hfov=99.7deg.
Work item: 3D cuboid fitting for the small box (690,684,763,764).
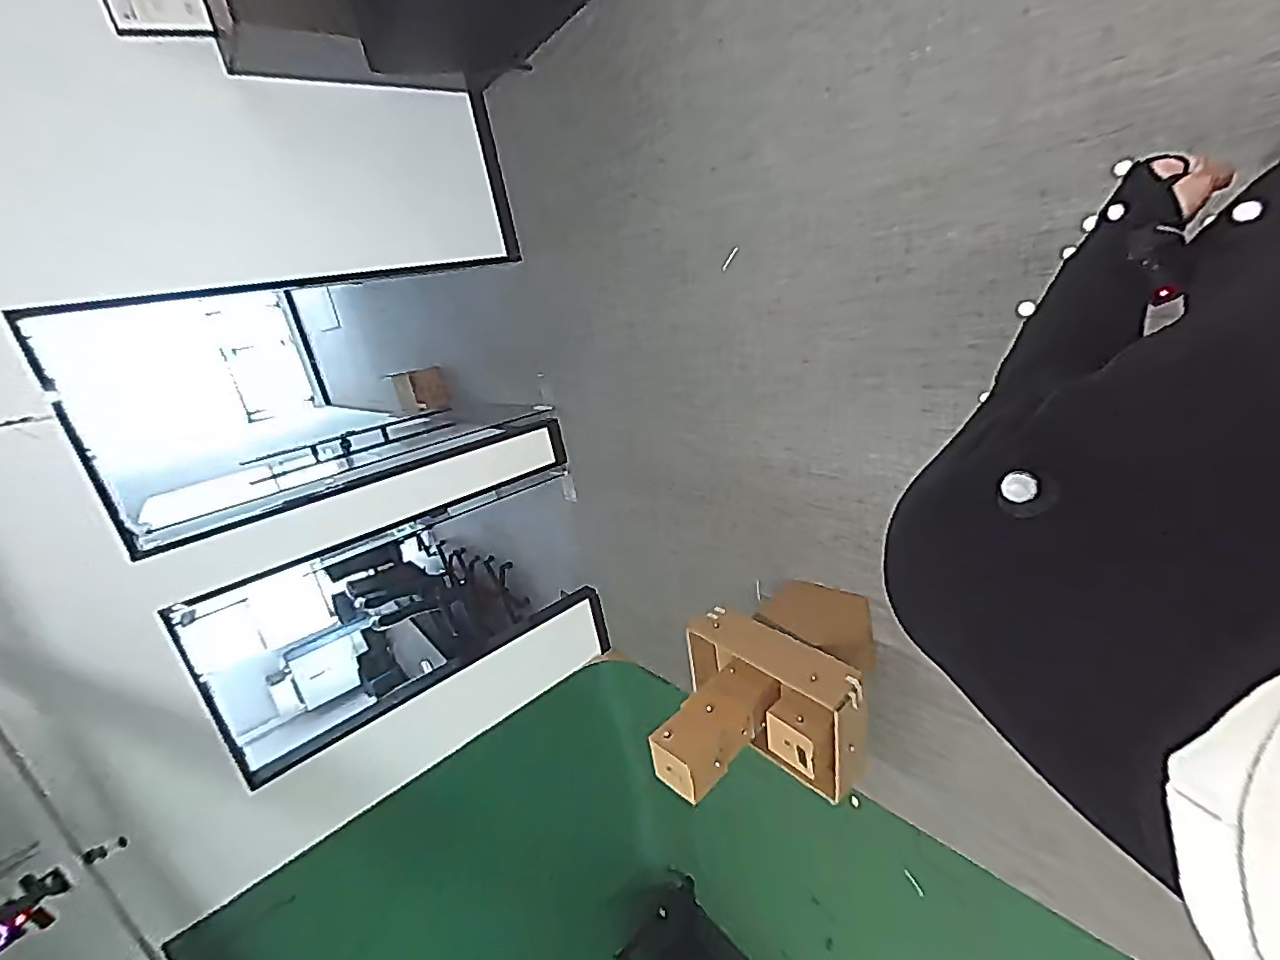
[{"bbox_3d":[0.295,0.825,1.838,0.179,0.176,0.168,14,120,46],"label":"small box"}]

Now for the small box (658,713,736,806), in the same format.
[{"bbox_3d":[0.183,0.882,1.730,0.179,0.176,0.168,12,119,47],"label":"small box"}]

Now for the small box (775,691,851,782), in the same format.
[{"bbox_3d":[0.564,0.821,1.754,0.179,0.176,0.168,18,123,49],"label":"small box"}]
